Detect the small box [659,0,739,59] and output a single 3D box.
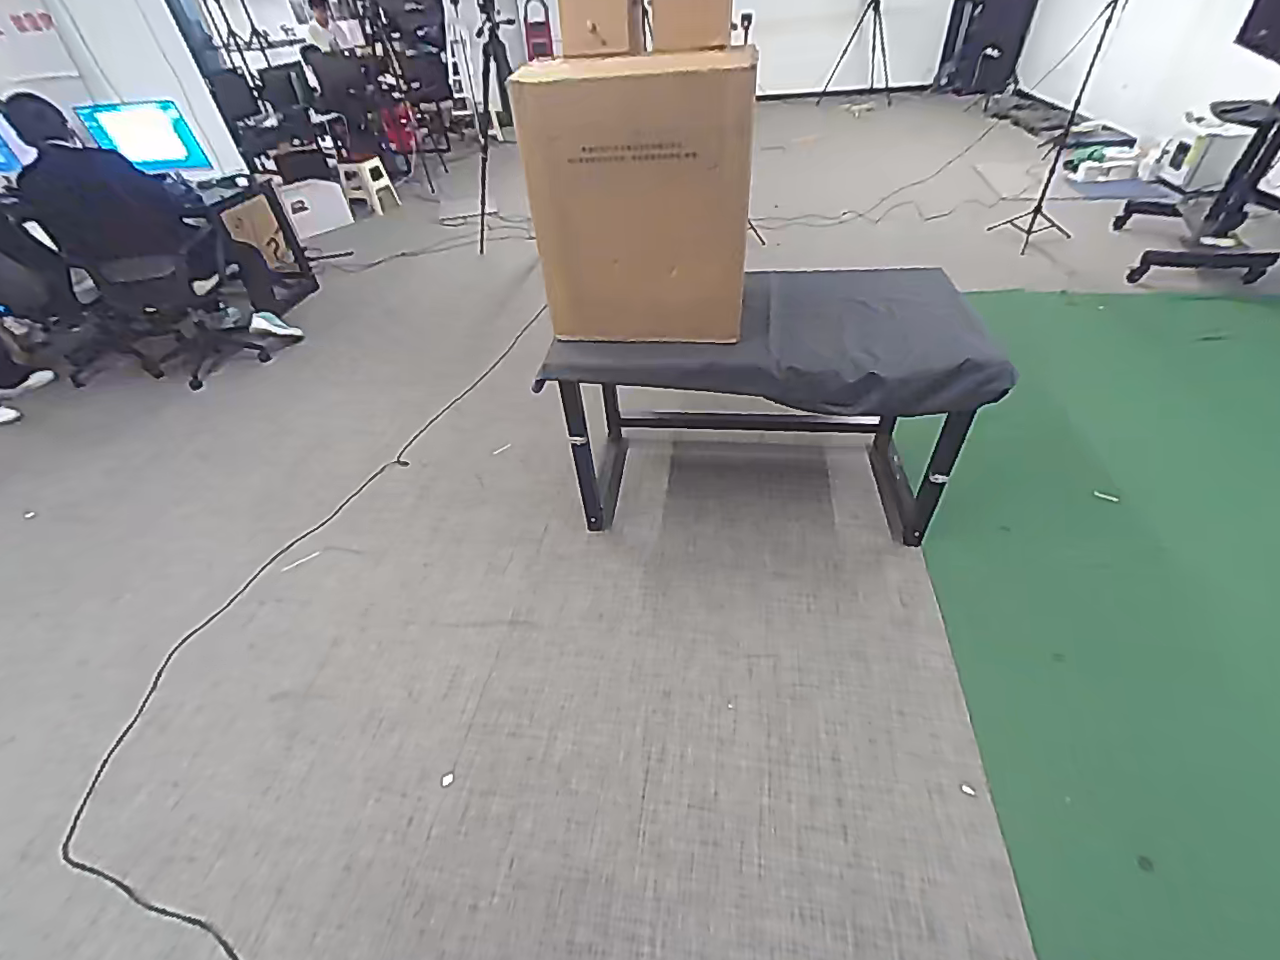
[{"bbox_3d":[0.139,-1.093,1.261,0.179,0.176,0.168,5,40,9],"label":"small box"}]
